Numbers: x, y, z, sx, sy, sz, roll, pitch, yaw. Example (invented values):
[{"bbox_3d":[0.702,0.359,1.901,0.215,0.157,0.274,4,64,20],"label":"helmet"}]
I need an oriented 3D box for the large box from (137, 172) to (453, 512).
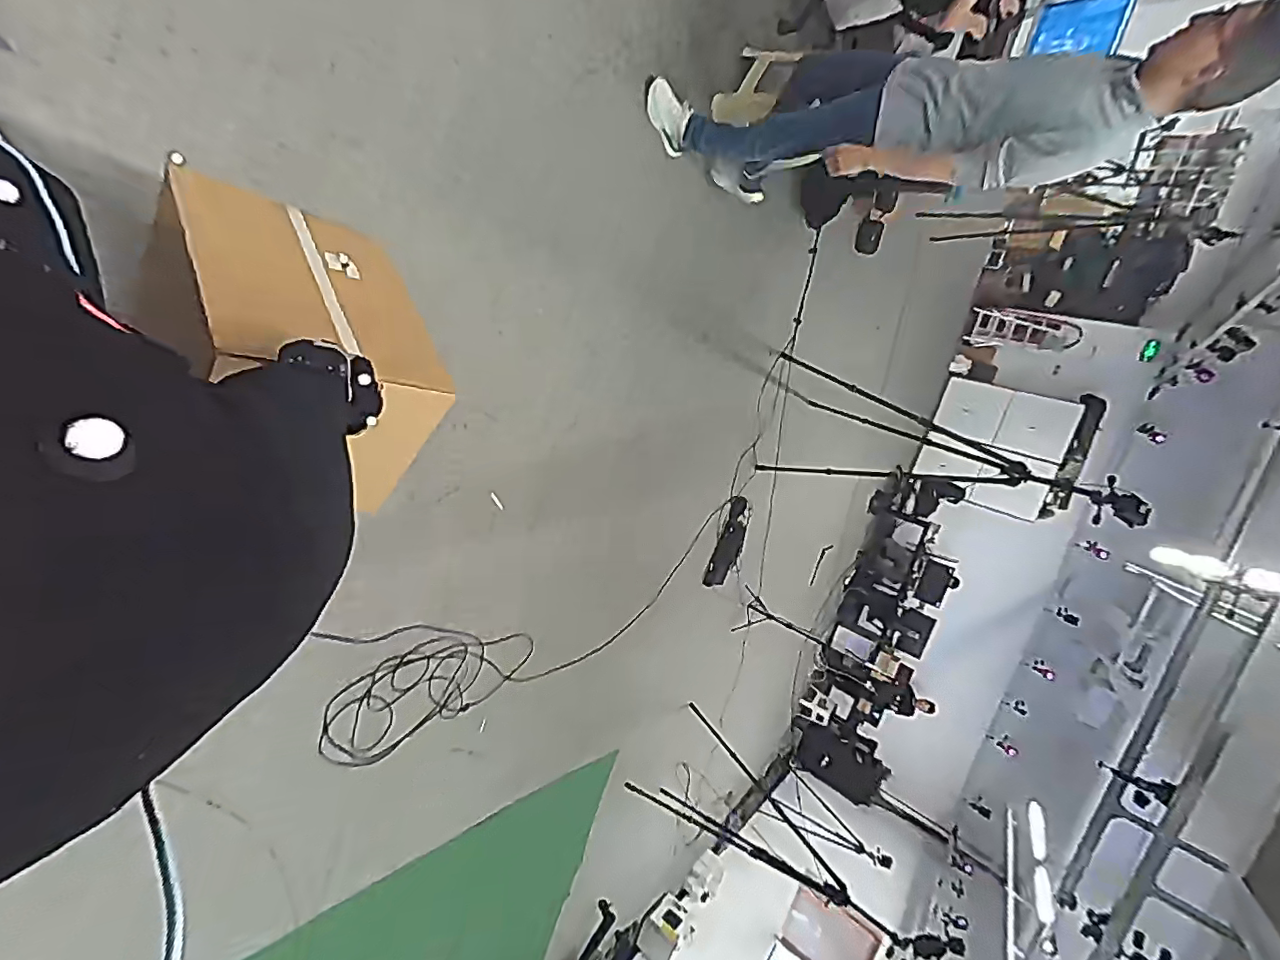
[{"bbox_3d":[-0.578,-0.198,0.891,0.320,0.408,0.320,-46,153,27],"label":"large box"}]
